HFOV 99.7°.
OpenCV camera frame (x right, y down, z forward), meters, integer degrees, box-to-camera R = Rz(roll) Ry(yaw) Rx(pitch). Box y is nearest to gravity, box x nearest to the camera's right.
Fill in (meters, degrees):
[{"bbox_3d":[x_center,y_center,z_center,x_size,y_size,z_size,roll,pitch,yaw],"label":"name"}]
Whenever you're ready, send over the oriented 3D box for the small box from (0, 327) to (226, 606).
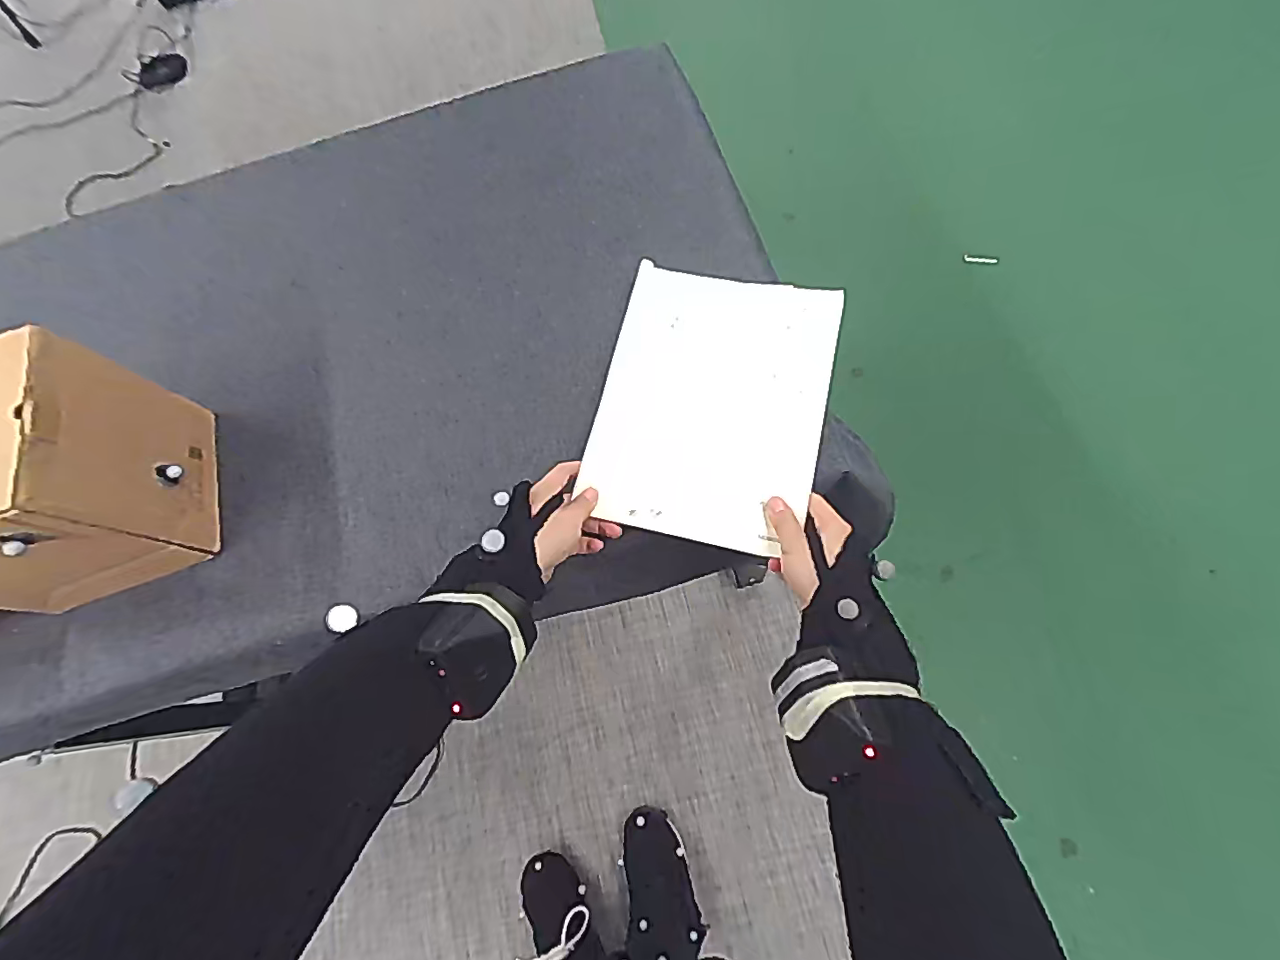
[{"bbox_3d":[-0.520,0.003,0.482,0.179,0.176,0.168,-20,69,0],"label":"small box"}]
